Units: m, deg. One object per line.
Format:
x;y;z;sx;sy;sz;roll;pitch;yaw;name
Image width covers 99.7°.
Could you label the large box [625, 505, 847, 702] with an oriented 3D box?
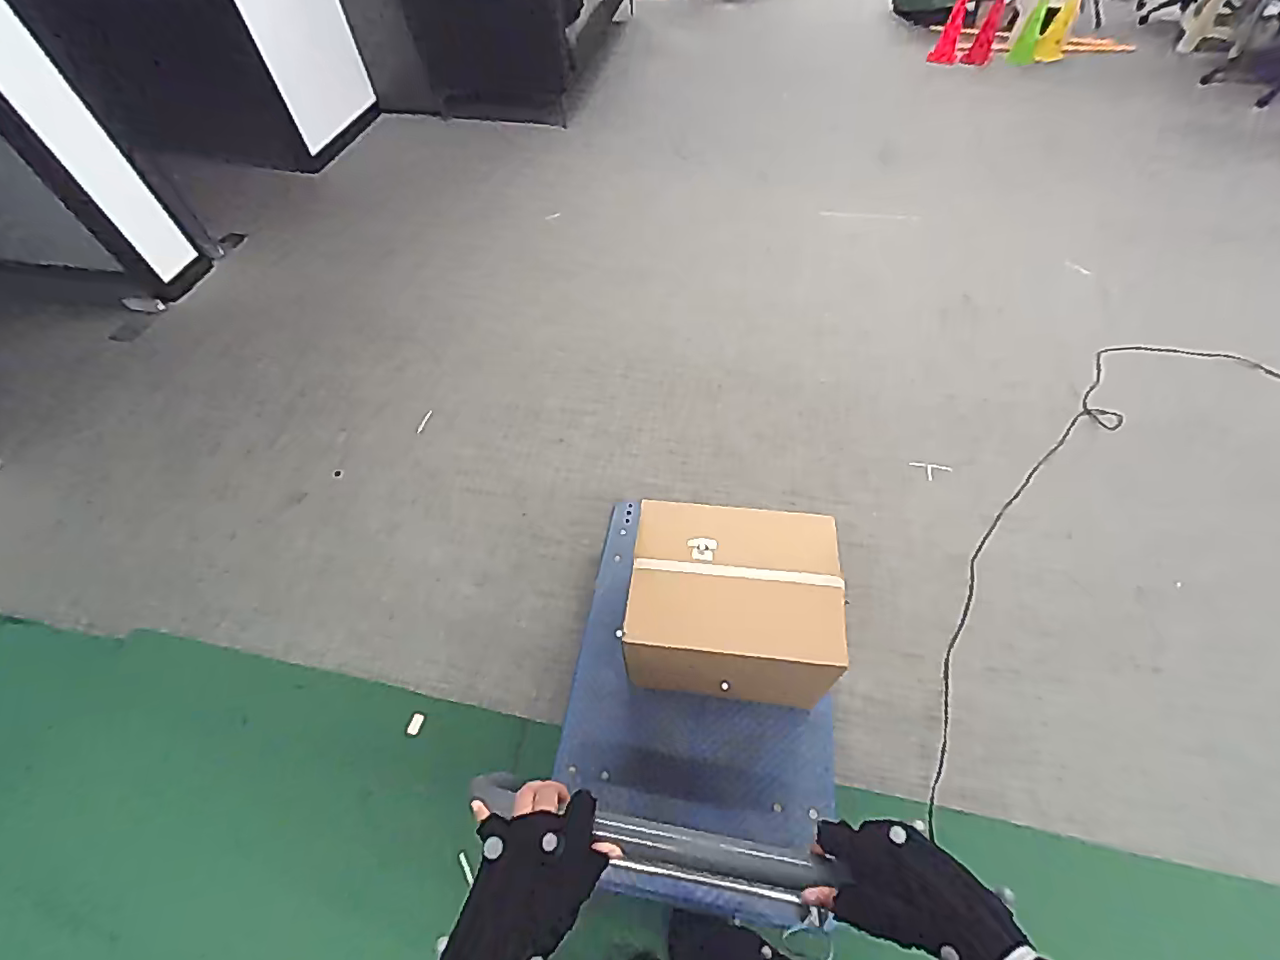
0.195;0.274;1.177;0.408;0.320;0.320;4;54;7;large box
